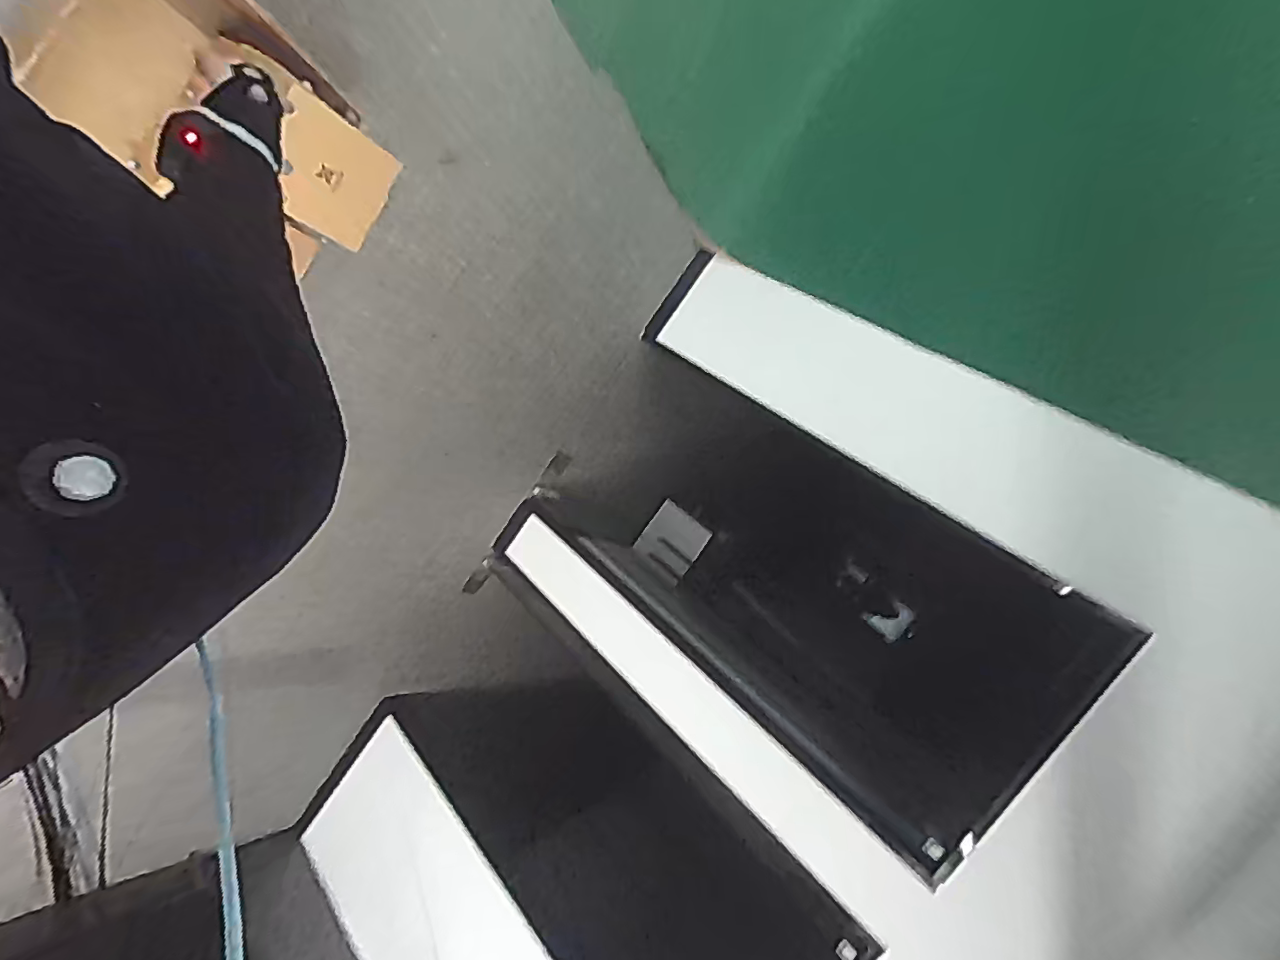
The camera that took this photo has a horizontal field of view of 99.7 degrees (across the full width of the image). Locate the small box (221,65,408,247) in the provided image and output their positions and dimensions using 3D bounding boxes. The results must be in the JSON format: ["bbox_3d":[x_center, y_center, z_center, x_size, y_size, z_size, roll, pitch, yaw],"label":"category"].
[{"bbox_3d":[-0.514,-0.510,0.852,0.168,0.176,0.179,-55,151,10],"label":"small box"}]

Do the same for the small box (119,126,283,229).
[{"bbox_3d":[-0.839,-0.537,1.040,0.168,0.176,0.179,-54,151,2],"label":"small box"}]

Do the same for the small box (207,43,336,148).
[{"bbox_3d":[-0.612,-0.606,0.941,0.179,0.176,0.168,-54,150,6],"label":"small box"}]

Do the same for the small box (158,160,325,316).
[{"bbox_3d":[-0.723,-0.438,0.979,0.179,0.176,0.168,-56,151,6],"label":"small box"}]
